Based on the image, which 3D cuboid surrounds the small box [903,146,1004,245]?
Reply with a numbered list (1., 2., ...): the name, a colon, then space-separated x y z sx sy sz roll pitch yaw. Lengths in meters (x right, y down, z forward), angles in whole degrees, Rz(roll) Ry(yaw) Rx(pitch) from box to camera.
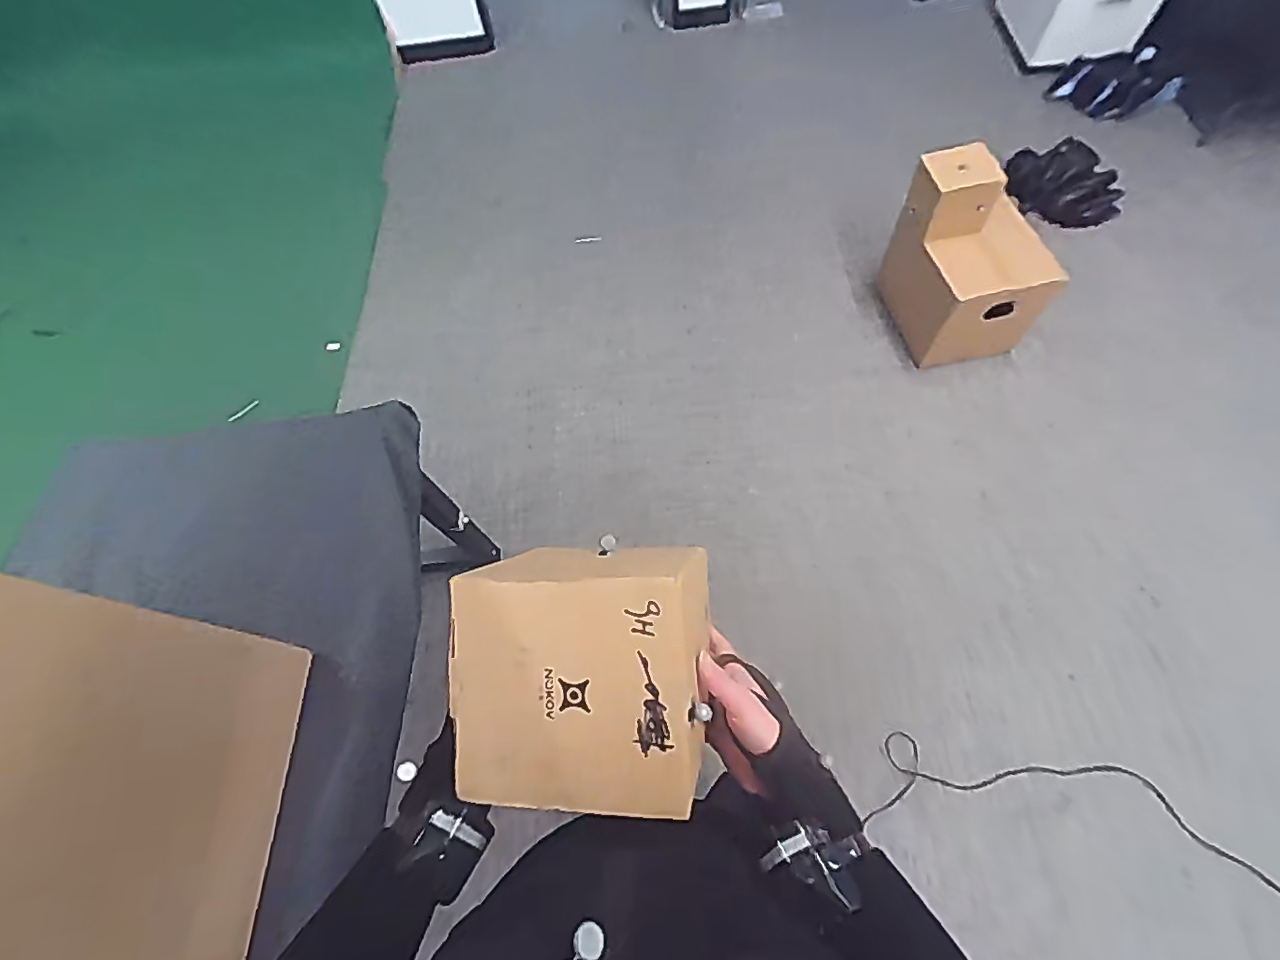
1. small box: 0.890 -0.811 1.552 0.179 0.176 0.168 -12 63 5
